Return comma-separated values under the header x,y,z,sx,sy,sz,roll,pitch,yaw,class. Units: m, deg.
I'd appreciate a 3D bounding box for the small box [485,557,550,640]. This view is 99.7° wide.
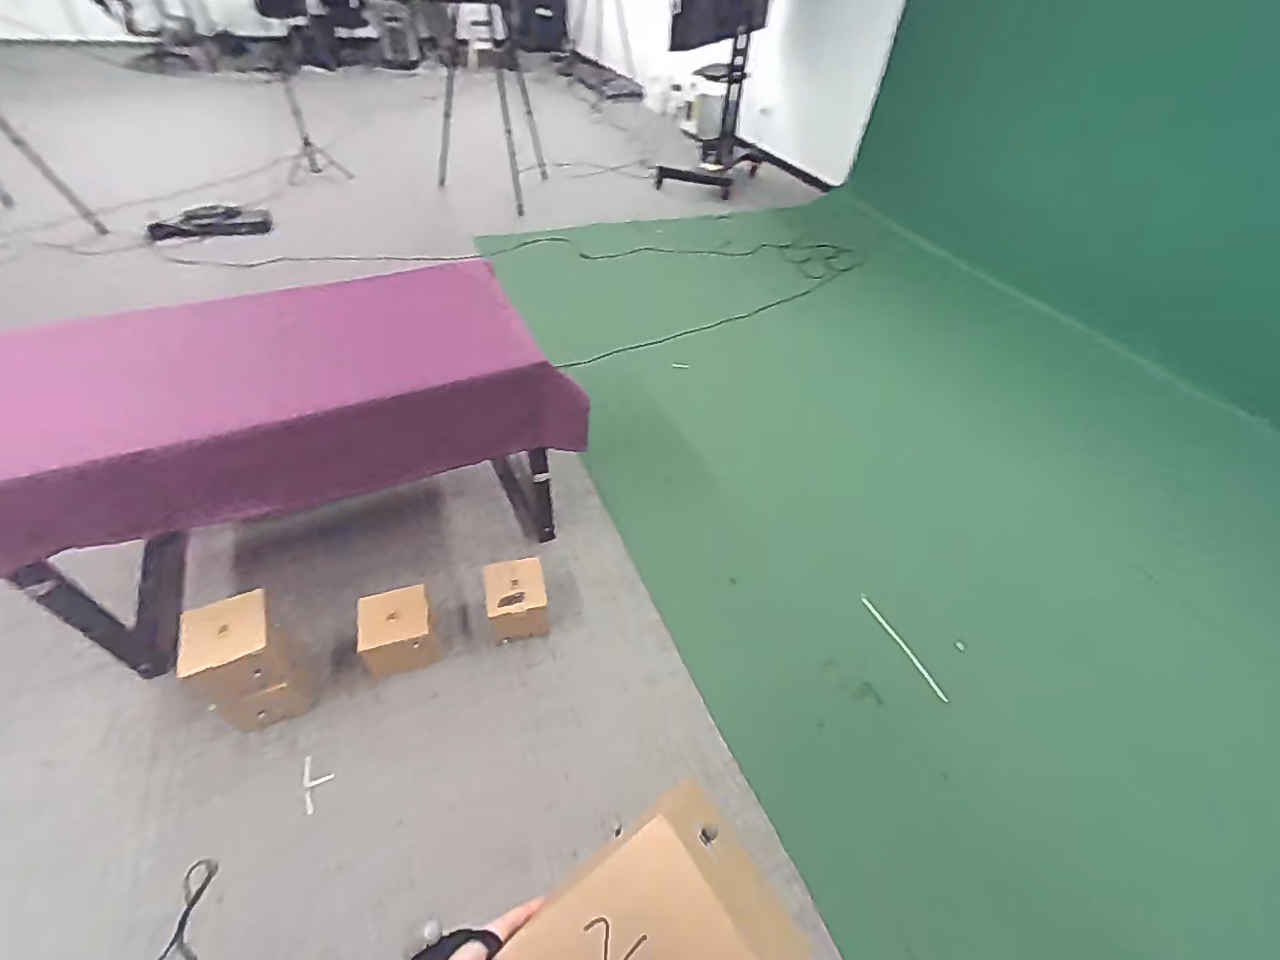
x,y,z,sx,sy,sz,roll,pitch,yaw,class
-0.363,0.360,1.611,0.168,0.176,0.179,-8,46,-13,small box
